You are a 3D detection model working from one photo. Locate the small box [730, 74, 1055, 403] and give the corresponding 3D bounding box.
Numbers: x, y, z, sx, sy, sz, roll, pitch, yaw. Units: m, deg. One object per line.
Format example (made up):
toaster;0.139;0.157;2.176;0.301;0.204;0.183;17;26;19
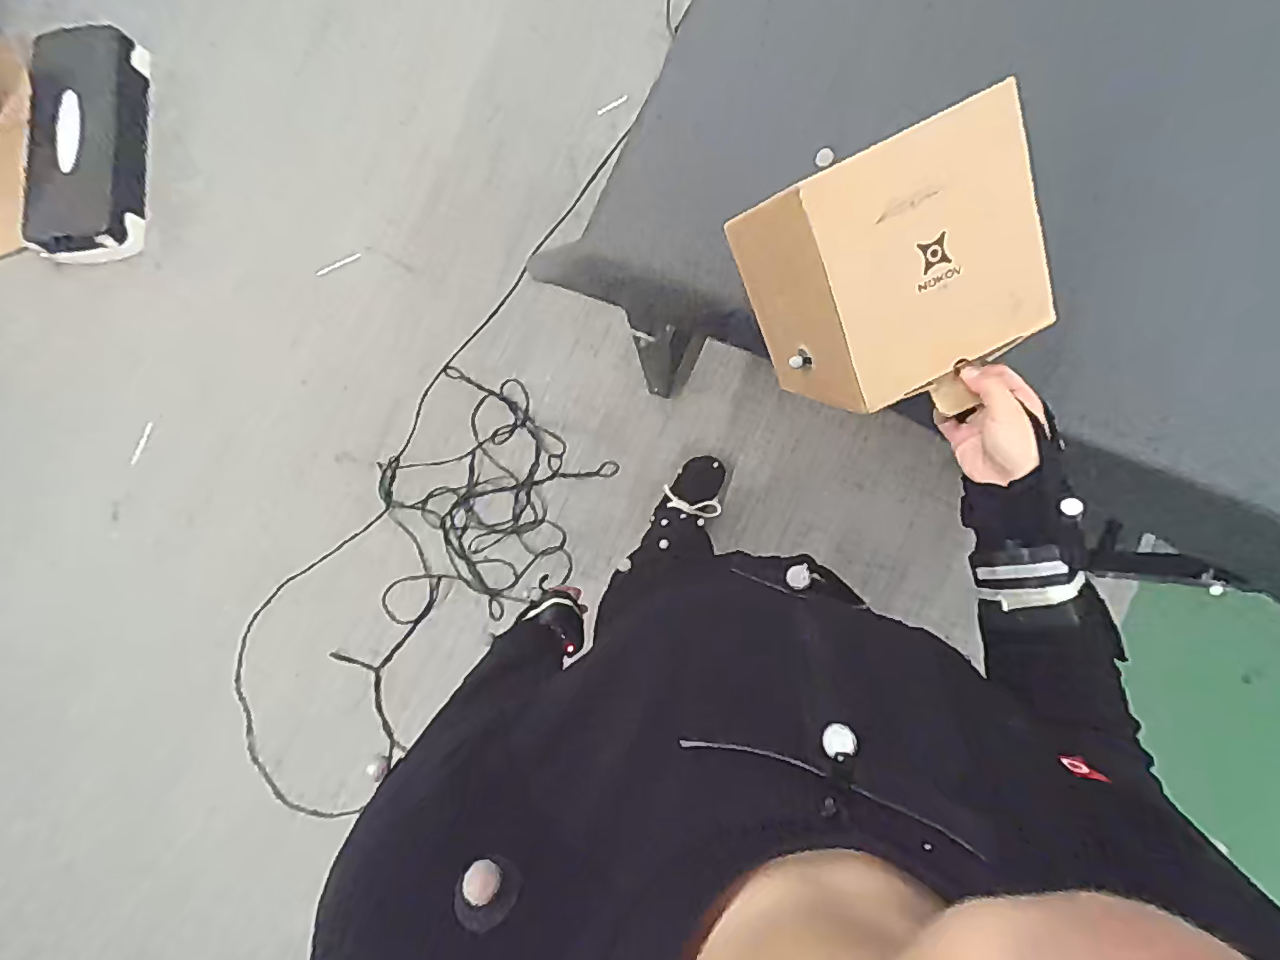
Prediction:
small box;0.199;-0.188;0.463;0.168;0.176;0.179;-26;108;-1
